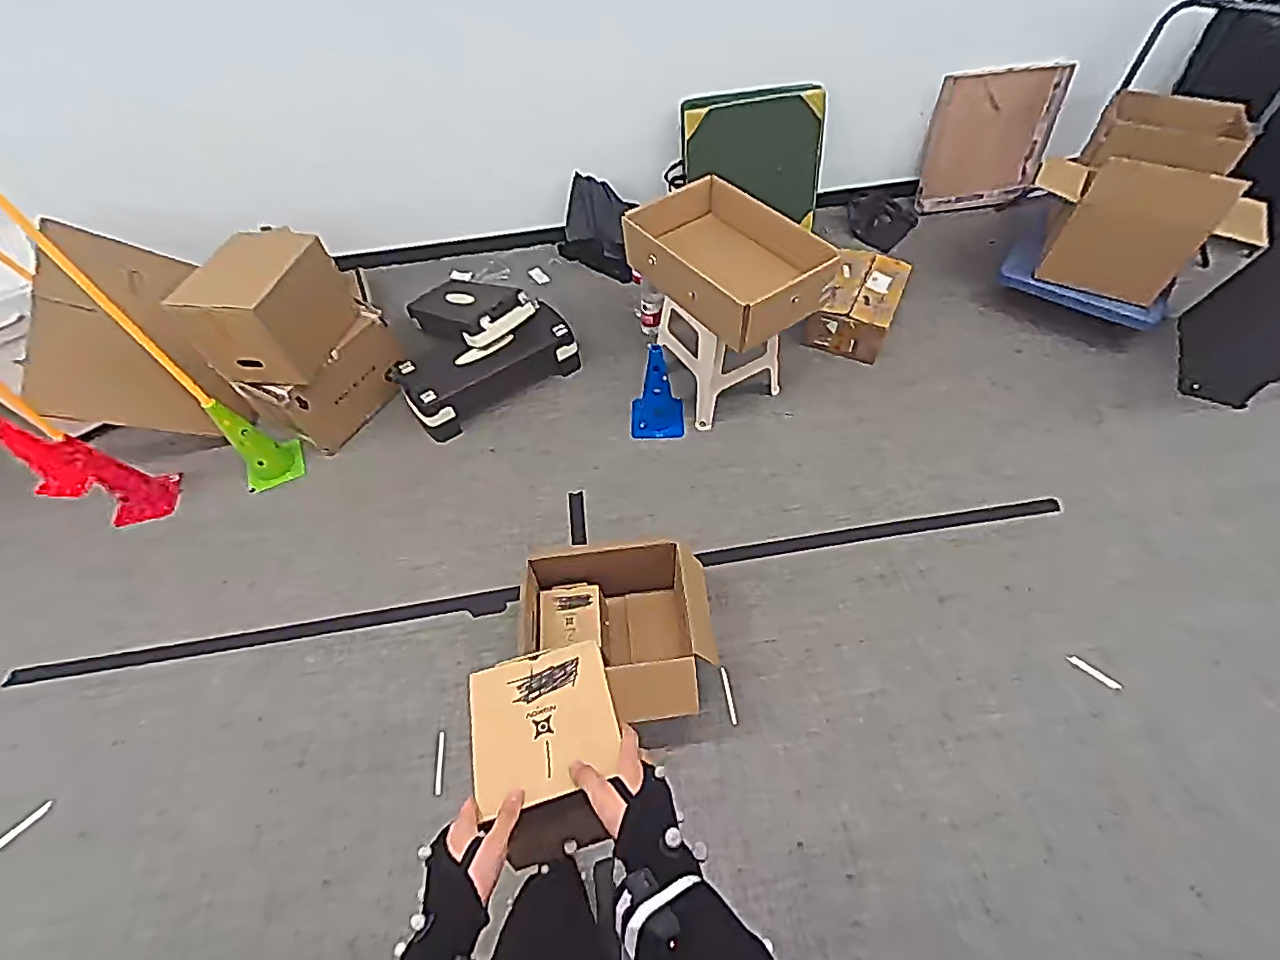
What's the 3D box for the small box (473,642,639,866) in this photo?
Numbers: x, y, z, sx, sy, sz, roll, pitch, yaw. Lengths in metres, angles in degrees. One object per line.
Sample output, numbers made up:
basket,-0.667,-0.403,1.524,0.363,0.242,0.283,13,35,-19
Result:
small box,-0.105,0.341,0.680,0.168,0.176,0.179,-14,41,-8
